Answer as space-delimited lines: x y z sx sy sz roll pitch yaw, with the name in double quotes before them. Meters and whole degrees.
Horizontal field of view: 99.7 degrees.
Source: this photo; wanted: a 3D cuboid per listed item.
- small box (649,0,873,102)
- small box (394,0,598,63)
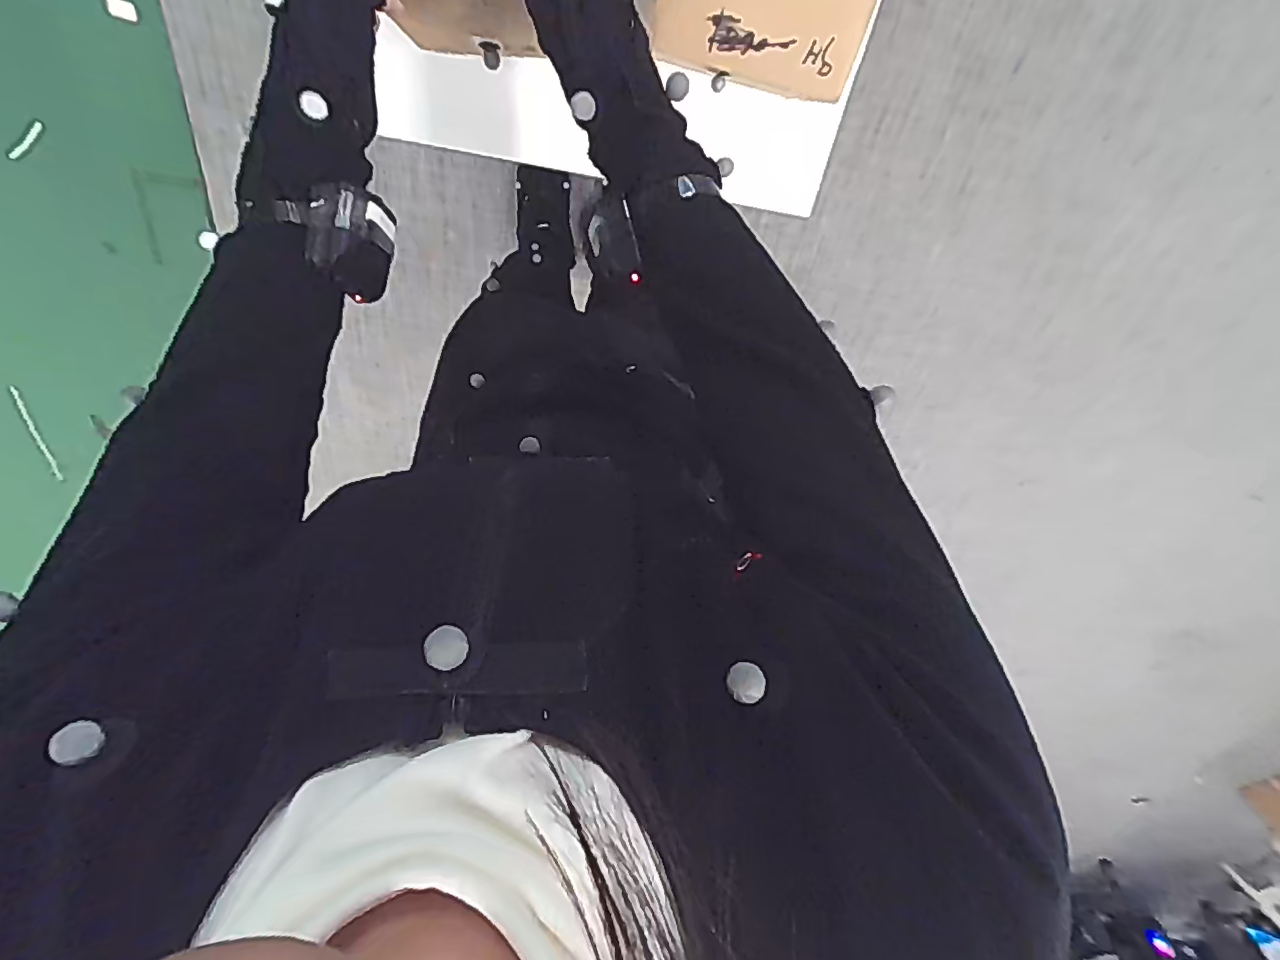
"small box" 0.105 -0.446 0.456 0.168 0.176 0.179 12 125 -7
"small box" -0.120 -0.459 0.419 0.168 0.176 0.179 0 112 0
